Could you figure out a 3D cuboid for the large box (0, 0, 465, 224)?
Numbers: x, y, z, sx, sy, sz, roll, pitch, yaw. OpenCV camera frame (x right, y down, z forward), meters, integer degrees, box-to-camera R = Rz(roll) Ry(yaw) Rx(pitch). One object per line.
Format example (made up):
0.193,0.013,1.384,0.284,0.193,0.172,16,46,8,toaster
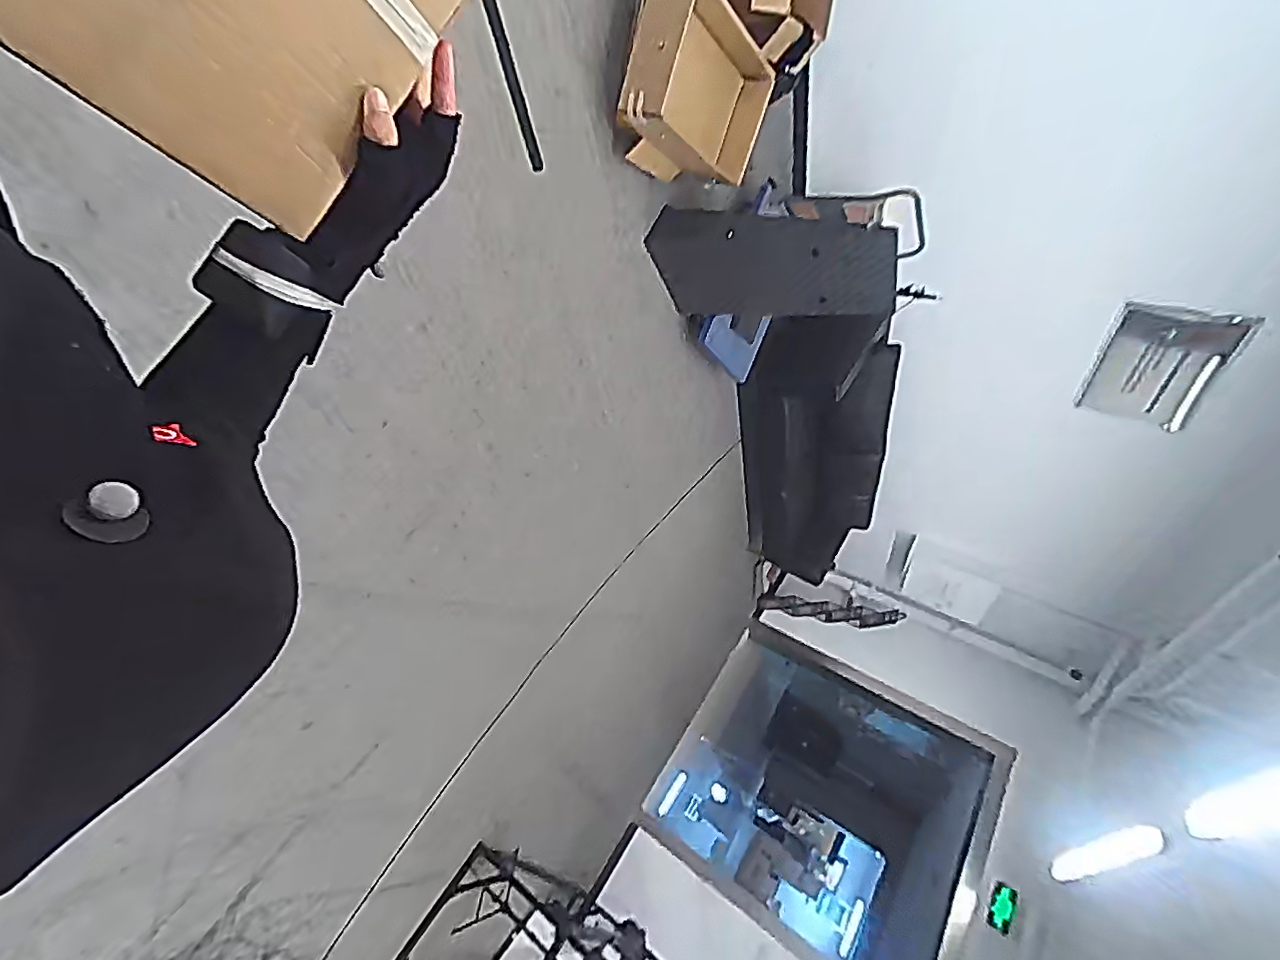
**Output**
-0.343,-0.434,0.299,0.320,0.320,0.408,-53,147,3,large box
